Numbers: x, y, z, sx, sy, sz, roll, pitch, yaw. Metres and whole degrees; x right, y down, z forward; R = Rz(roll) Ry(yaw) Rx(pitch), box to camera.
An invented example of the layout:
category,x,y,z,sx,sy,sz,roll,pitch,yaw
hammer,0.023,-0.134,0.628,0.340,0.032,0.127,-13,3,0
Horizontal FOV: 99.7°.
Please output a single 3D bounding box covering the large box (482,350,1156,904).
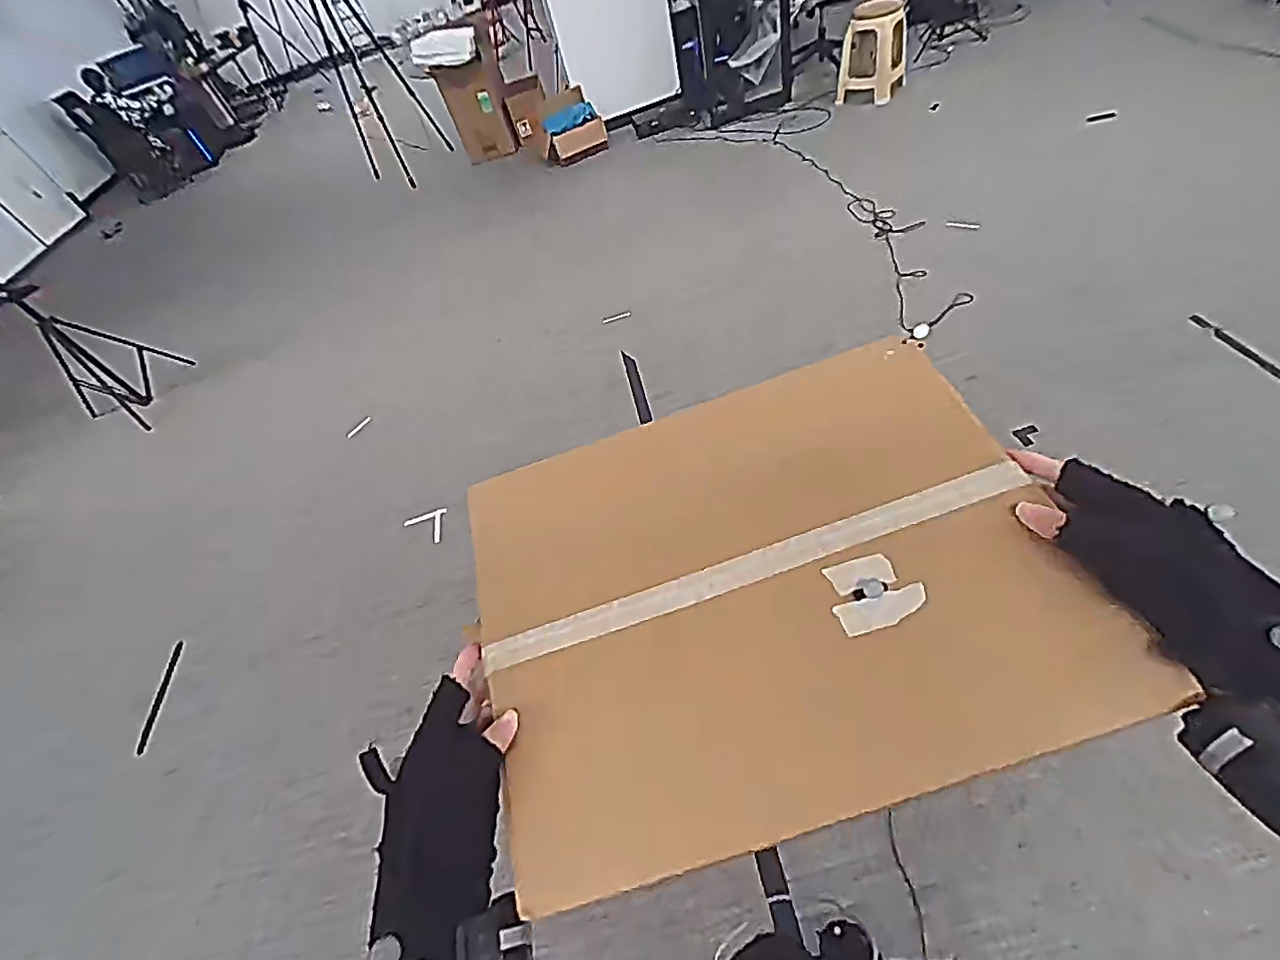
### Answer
category,x,y,z,sx,sy,sz,roll,pitch,yaw
large box,0.111,0.146,0.528,0.408,0.320,0.320,-19,58,1
